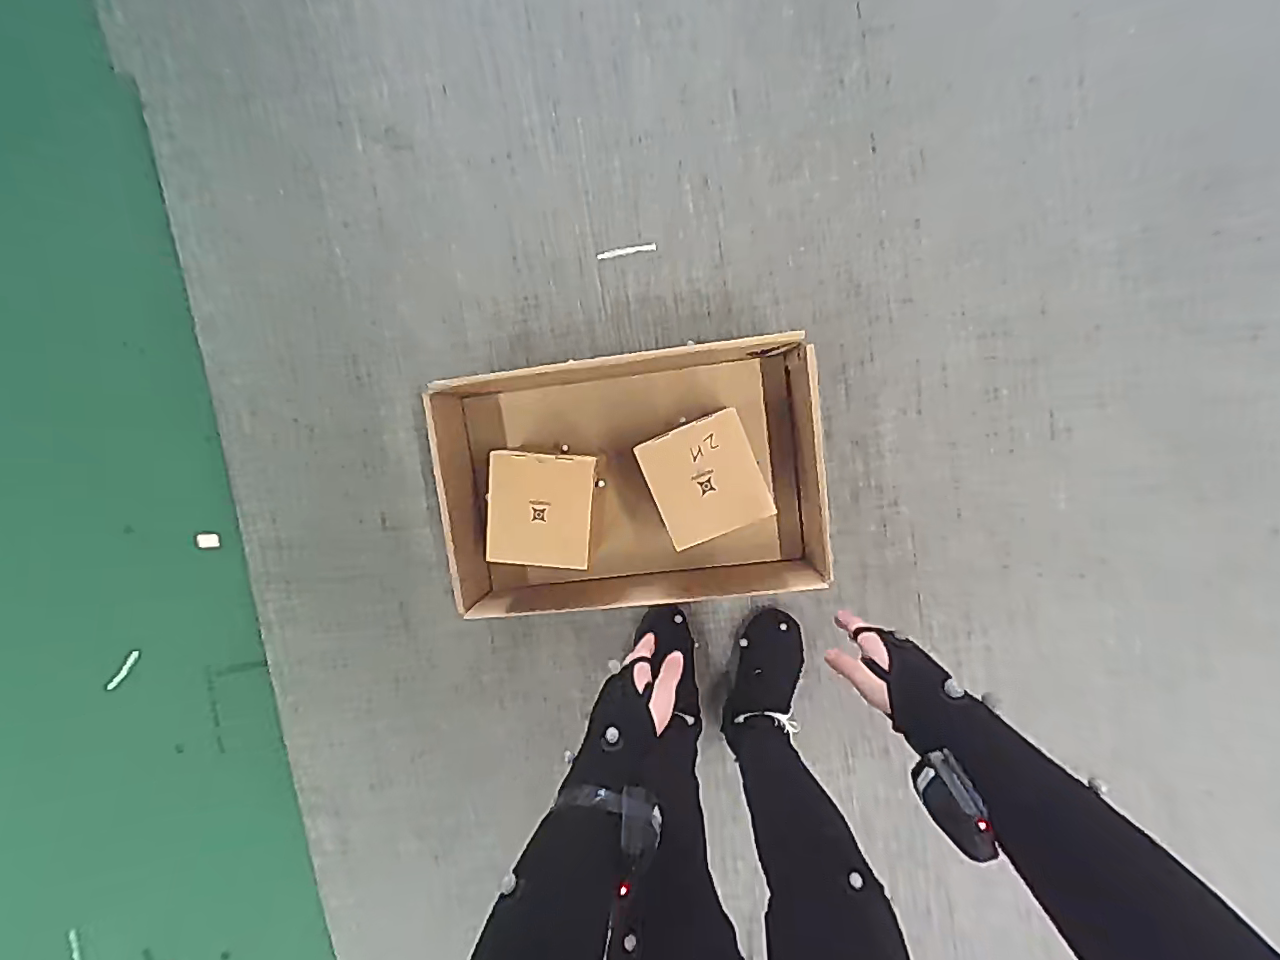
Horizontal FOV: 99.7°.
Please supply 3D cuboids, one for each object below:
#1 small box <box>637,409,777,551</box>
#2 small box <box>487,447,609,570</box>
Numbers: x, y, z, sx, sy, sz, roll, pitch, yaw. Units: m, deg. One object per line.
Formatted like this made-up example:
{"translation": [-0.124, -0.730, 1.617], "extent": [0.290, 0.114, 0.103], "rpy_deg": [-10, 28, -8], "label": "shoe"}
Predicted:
{"translation": [0.109, -0.008, 0.886], "extent": [0.168, 0.176, 0.179], "rpy_deg": [-22, 94, 8], "label": "small box"}
{"translation": [-0.148, 0.040, 0.915], "extent": [0.168, 0.176, 0.179], "rpy_deg": [5, 95, 4], "label": "small box"}
